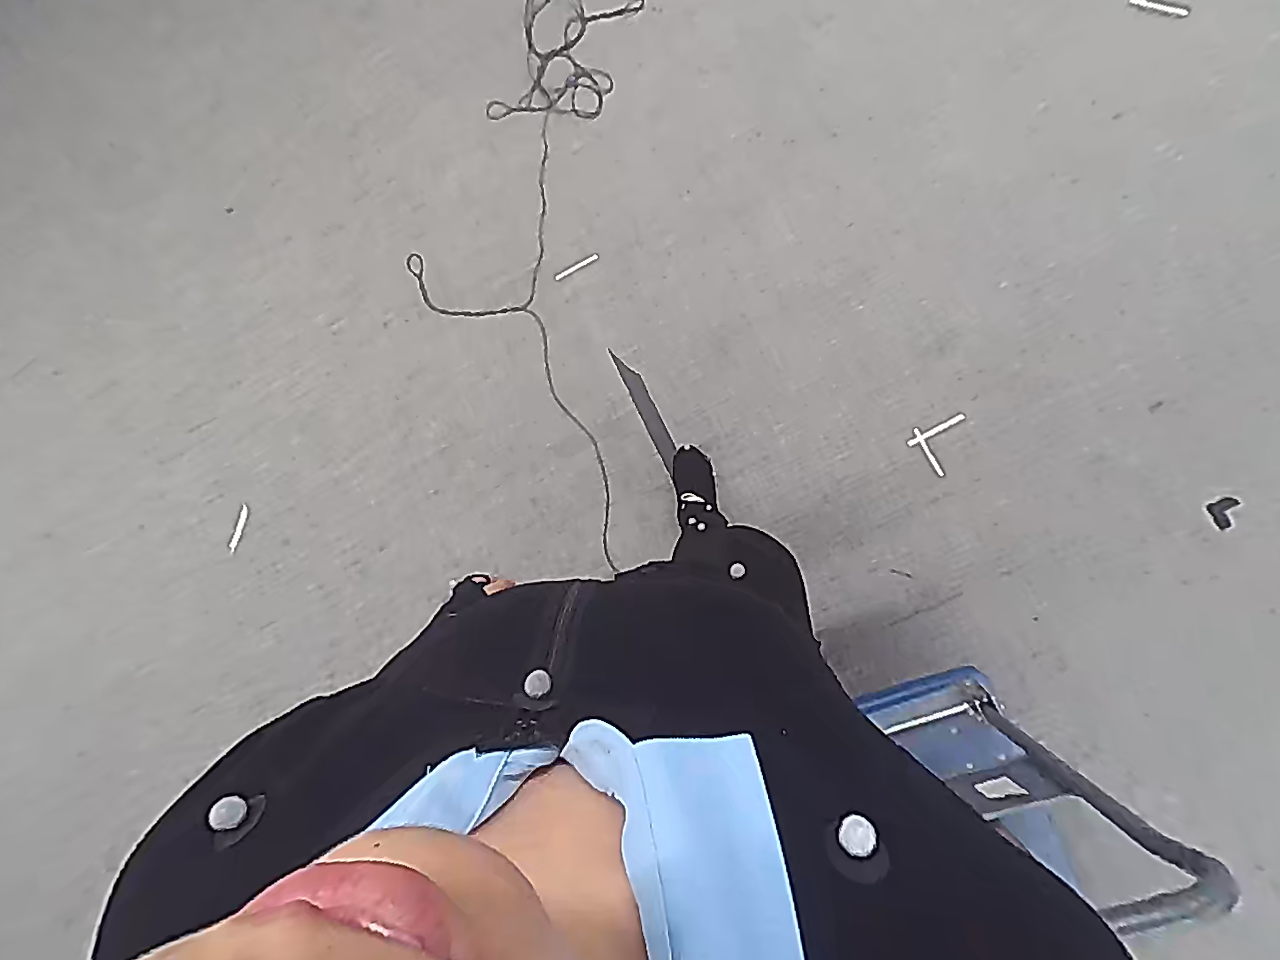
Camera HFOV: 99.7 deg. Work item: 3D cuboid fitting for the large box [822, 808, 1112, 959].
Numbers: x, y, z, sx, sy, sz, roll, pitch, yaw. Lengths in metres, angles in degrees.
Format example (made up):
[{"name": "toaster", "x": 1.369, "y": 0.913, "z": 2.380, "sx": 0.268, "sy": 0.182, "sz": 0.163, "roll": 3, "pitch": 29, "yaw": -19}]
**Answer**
[{"name": "large box", "x": 0.622, "y": 0.912, "z": 1.039, "sx": 0.408, "sy": 0.320, "sz": 0.320, "roll": -21, "pitch": 84, "yaw": 6}]
